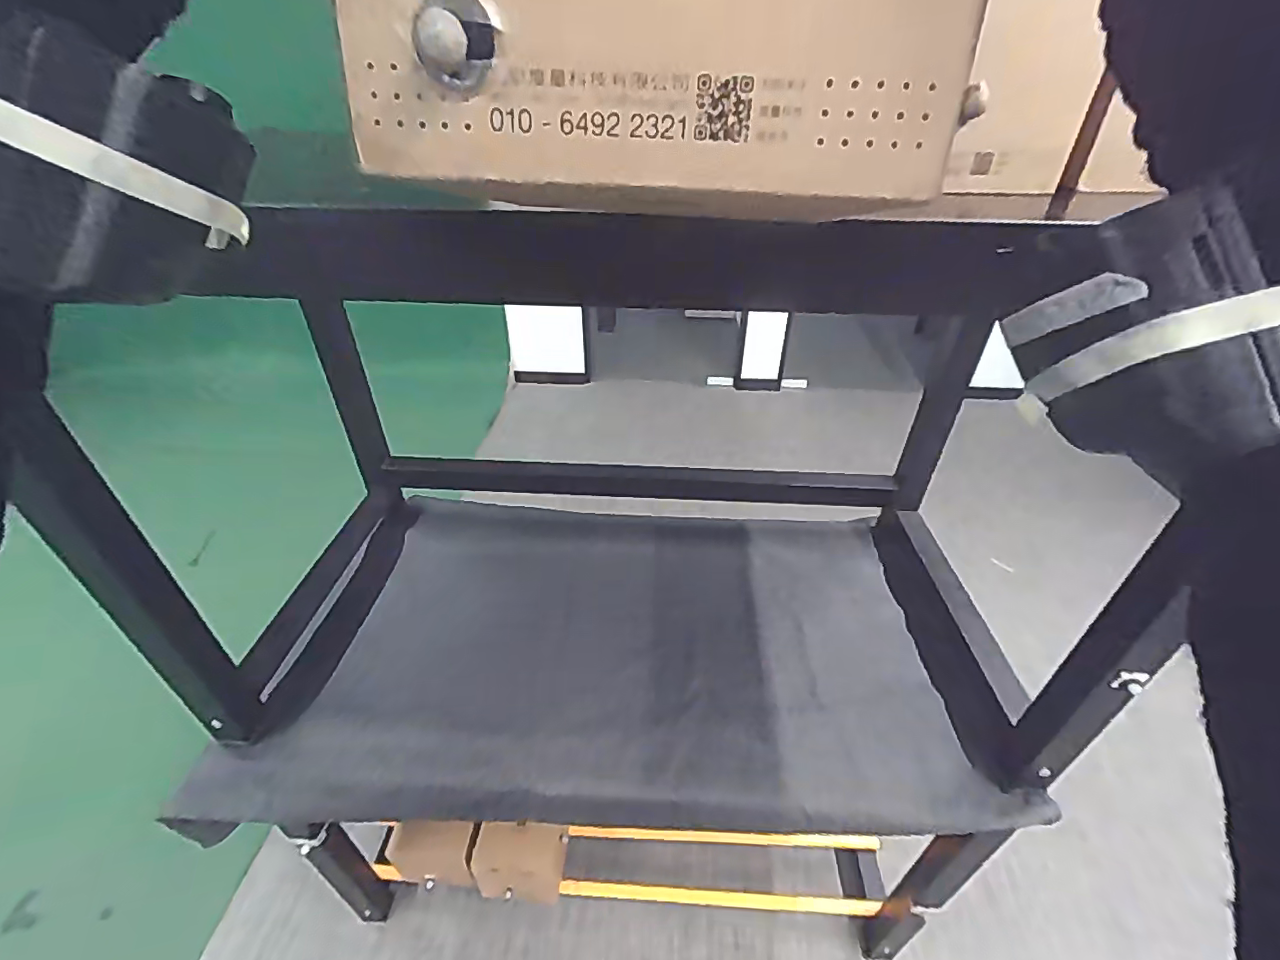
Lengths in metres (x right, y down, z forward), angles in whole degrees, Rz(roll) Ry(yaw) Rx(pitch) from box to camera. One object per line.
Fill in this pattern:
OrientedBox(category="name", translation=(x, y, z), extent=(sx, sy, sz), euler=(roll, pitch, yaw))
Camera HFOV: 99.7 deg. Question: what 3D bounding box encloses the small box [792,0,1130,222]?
OrientedBox(category="small box", translation=(0.230, -0.317, 0.437), extent=(0.168, 0.176, 0.179), euler=(1, 36, 1))
